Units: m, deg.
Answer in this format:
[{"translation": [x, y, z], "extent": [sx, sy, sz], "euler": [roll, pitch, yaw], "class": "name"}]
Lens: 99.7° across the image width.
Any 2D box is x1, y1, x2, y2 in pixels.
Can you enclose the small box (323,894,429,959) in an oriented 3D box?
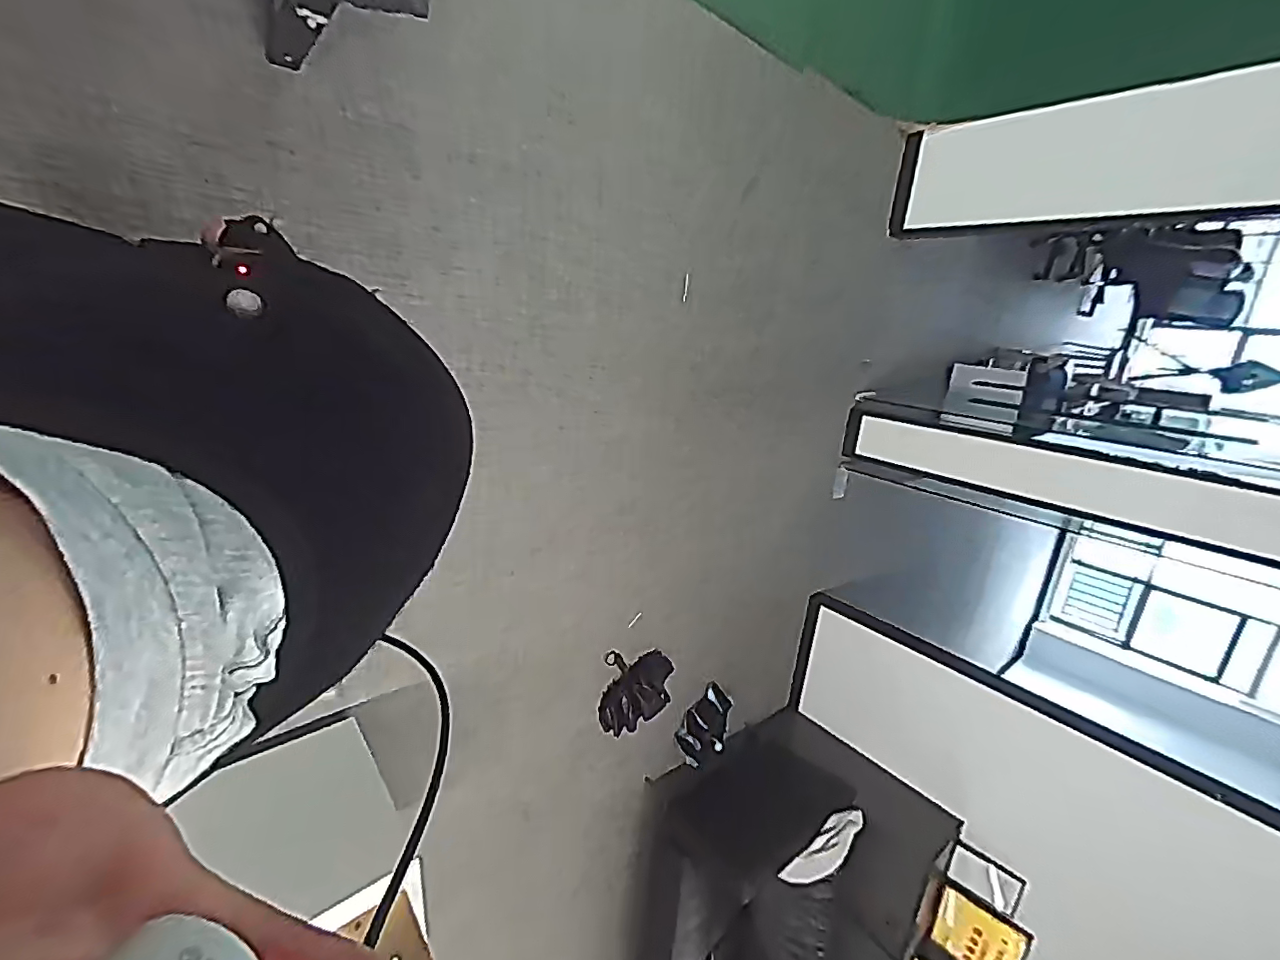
[{"translation": [-0.554, 1.041, 1.142], "extent": [0.168, 0.176, 0.179], "euler": [-12, 115, -38], "class": "small box"}]
